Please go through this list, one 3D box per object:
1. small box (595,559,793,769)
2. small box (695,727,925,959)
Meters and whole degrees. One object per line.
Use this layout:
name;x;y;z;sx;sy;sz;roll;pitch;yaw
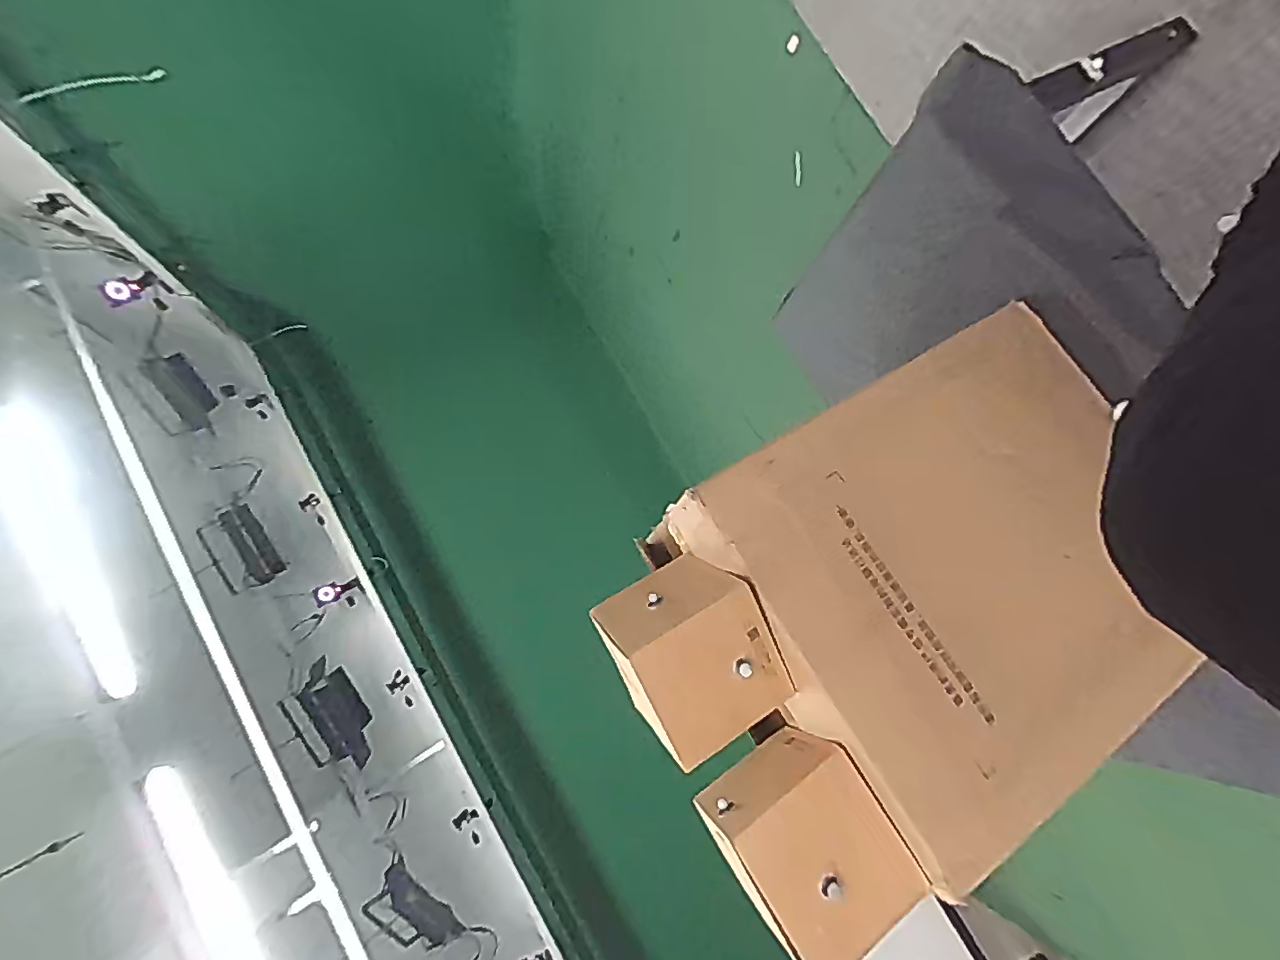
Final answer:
small box;0.066;0.222;0.708;0.168;0.176;0.179;65;163;-12
small box;0.200;0.440;0.662;0.179;0.176;0.168;57;163;10
